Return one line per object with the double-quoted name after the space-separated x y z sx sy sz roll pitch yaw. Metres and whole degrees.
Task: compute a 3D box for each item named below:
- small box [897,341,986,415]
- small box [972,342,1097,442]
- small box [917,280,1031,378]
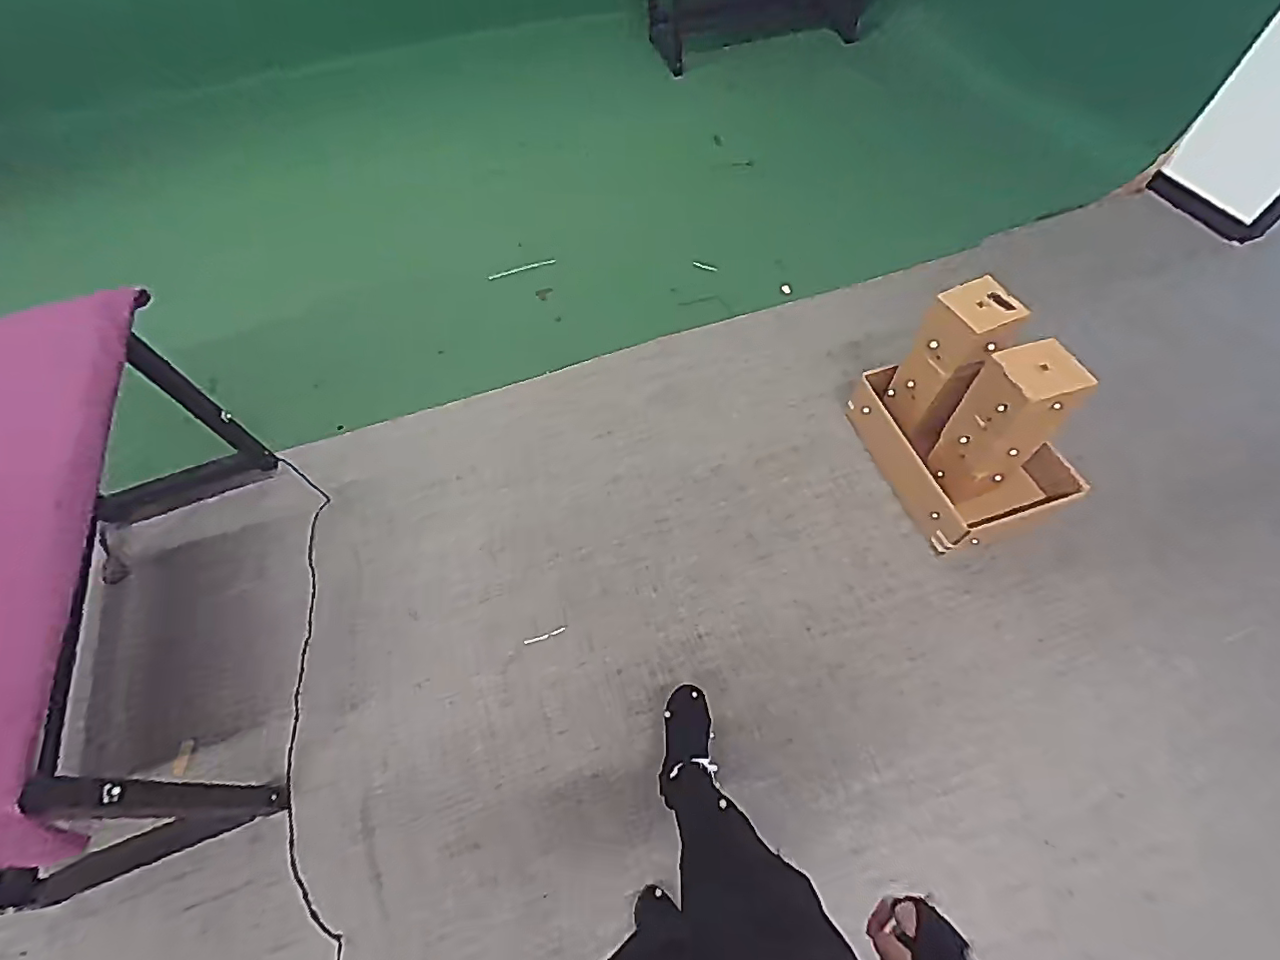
0.921 -0.324 1.637 0.179 0.176 0.168 -17 60 -7 "small box"
0.990 -0.220 1.384 0.179 0.176 0.168 -14 57 -4 "small box"
0.914 -0.416 1.500 0.179 0.176 0.168 -22 61 -10 "small box"
